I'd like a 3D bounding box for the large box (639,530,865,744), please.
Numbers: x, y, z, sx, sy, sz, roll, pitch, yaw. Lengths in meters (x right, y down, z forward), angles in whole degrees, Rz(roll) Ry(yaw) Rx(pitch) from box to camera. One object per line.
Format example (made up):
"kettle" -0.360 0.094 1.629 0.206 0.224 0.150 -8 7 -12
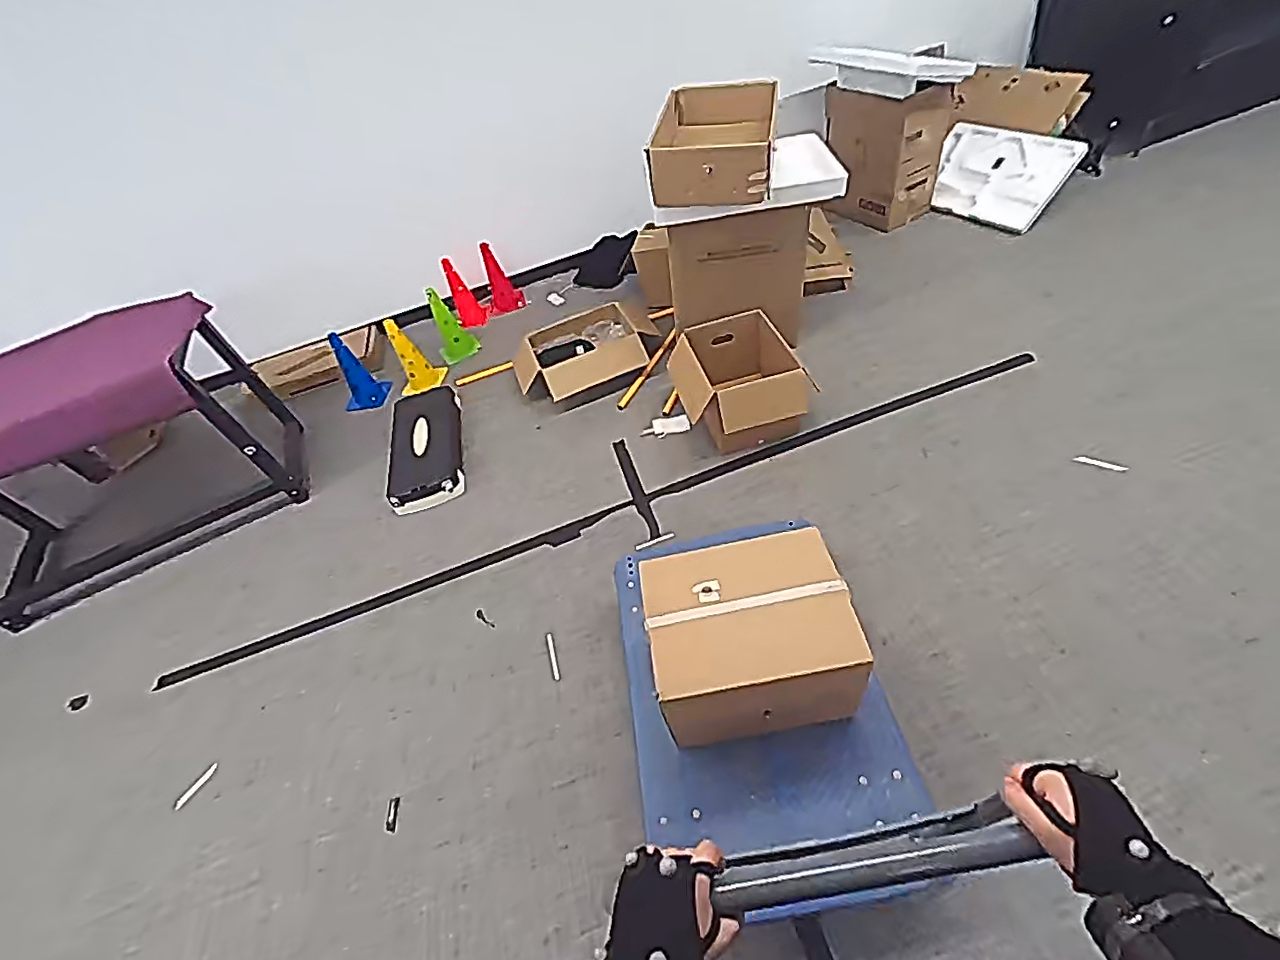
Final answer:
"large box" 0.239 0.362 1.225 0.408 0.320 0.320 -13 47 4
